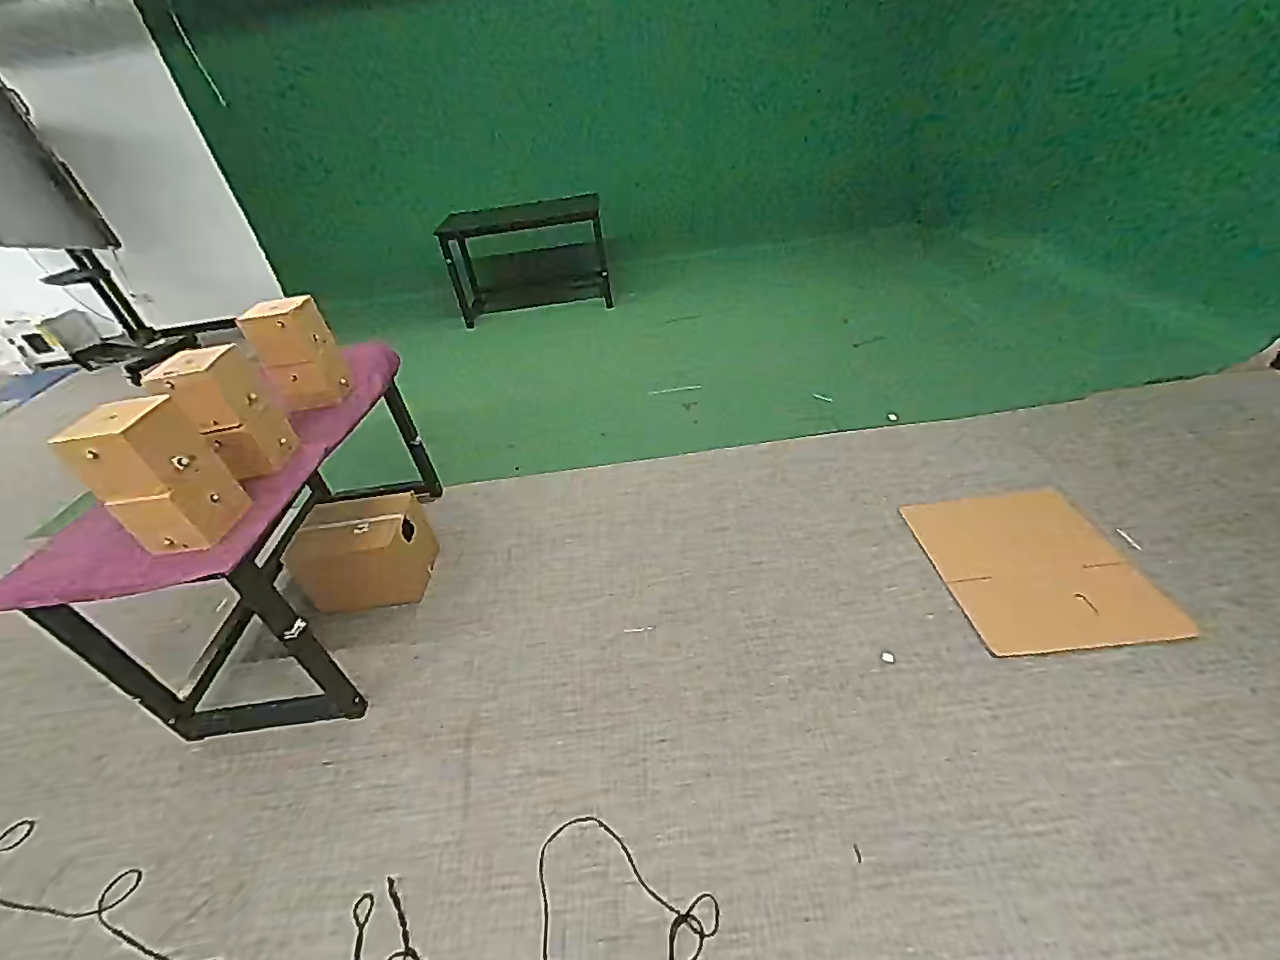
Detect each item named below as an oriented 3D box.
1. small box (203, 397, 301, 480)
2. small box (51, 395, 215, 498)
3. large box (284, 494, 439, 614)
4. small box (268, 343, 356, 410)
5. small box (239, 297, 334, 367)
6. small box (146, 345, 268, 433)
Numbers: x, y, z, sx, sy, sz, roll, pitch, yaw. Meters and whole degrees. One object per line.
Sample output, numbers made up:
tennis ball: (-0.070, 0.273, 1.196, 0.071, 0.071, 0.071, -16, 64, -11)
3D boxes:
small box: (-1.138, -0.117, 1.568, 0.179, 0.176, 0.168, -9, 38, 1)
small box: (-1.147, -0.073, 1.241, 0.179, 0.176, 0.168, -6, 38, 4)
large box: (-1.064, 0.291, 2.120, 0.408, 0.320, 0.320, -7, 38, 1)
small box: (-1.132, -0.357, 1.882, 0.179, 0.176, 0.168, -7, 38, 1)
small box: (-1.157, -0.484, 1.784, 0.179, 0.176, 0.168, -8, 37, 1)
small box: (-1.157, -0.245, 1.467, 0.168, 0.176, 0.179, -10, 36, 1)
